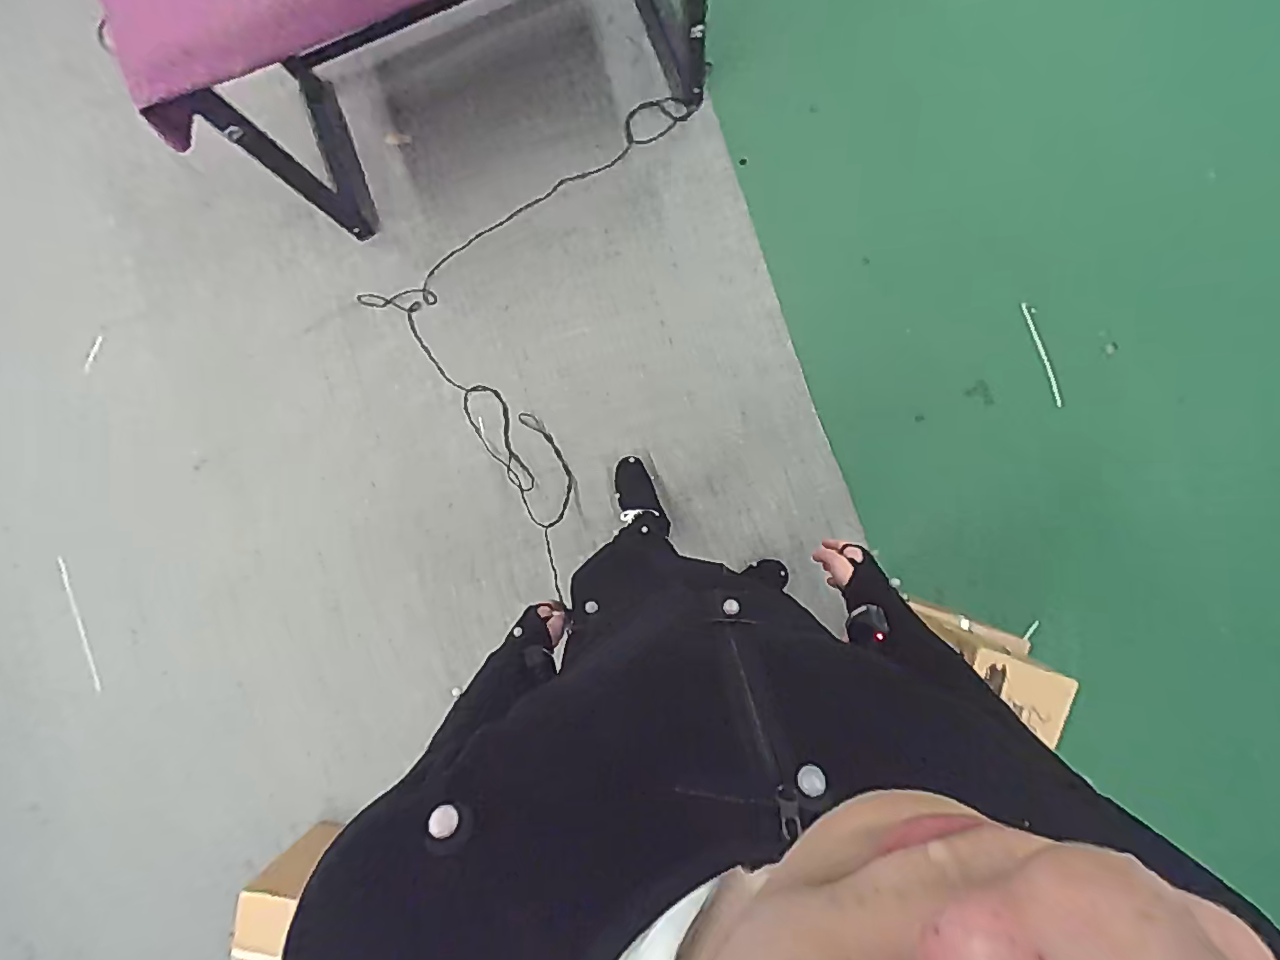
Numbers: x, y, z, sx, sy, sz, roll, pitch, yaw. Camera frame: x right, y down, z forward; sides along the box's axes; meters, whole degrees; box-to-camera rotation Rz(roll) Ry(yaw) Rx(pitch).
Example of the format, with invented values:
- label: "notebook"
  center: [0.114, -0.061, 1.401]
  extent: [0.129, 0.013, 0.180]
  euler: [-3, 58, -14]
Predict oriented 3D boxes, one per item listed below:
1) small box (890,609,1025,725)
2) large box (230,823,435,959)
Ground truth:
- label: "small box"
  center: [0.682, 0.397, 1.186]
  extent: [0.179, 0.176, 0.168]
  euler: [21, 91, 5]
- label: "large box"
  center: [-0.856, 1.238, 1.542]
  extent: [0.408, 0.320, 0.320]
  euler: [5, 90, 4]
